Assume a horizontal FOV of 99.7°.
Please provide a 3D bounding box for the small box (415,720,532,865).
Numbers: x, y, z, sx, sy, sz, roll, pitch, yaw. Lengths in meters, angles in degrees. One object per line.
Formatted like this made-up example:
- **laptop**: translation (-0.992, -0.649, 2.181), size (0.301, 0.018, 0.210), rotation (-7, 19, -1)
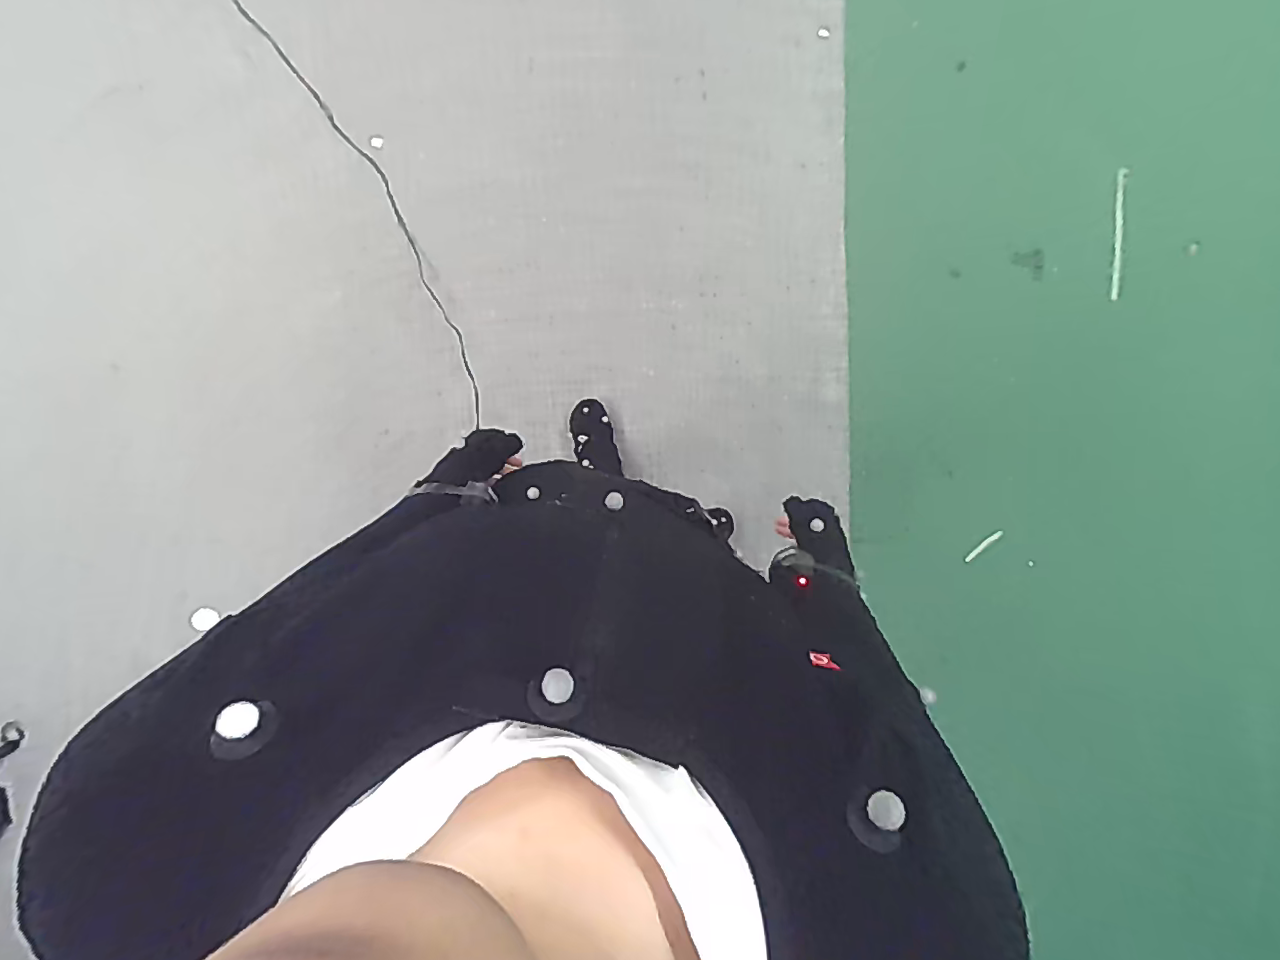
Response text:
- **small box**: translation (-0.310, 0.583, 1.031), size (0.168, 0.176, 0.179), rotation (1, 96, 6)
